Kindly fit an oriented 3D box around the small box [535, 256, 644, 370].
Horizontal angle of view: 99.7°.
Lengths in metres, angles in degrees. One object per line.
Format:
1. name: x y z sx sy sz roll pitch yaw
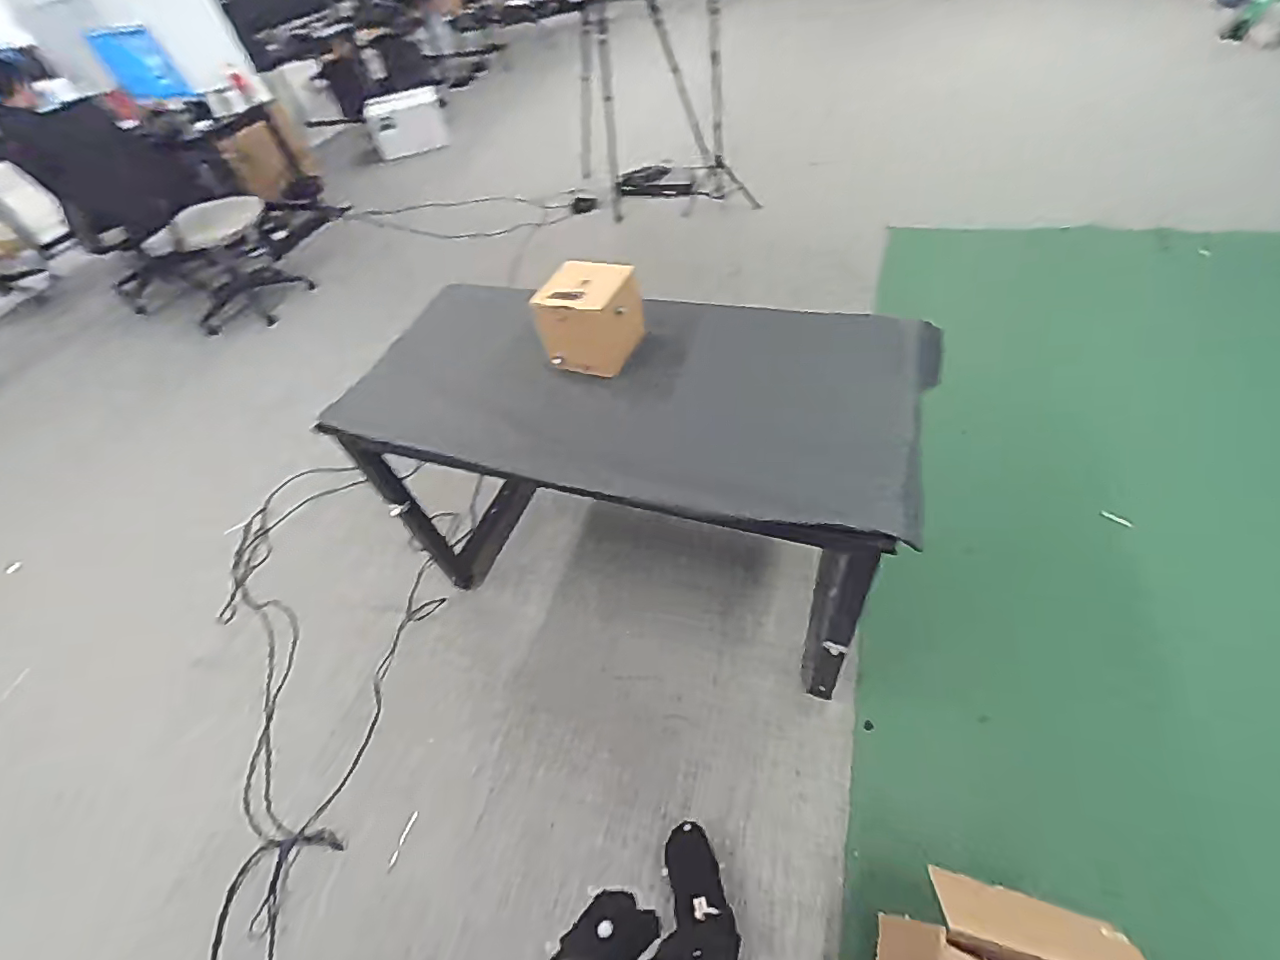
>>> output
1. small box: -0.099 -0.364 1.184 0.168 0.176 0.179 14 54 20
